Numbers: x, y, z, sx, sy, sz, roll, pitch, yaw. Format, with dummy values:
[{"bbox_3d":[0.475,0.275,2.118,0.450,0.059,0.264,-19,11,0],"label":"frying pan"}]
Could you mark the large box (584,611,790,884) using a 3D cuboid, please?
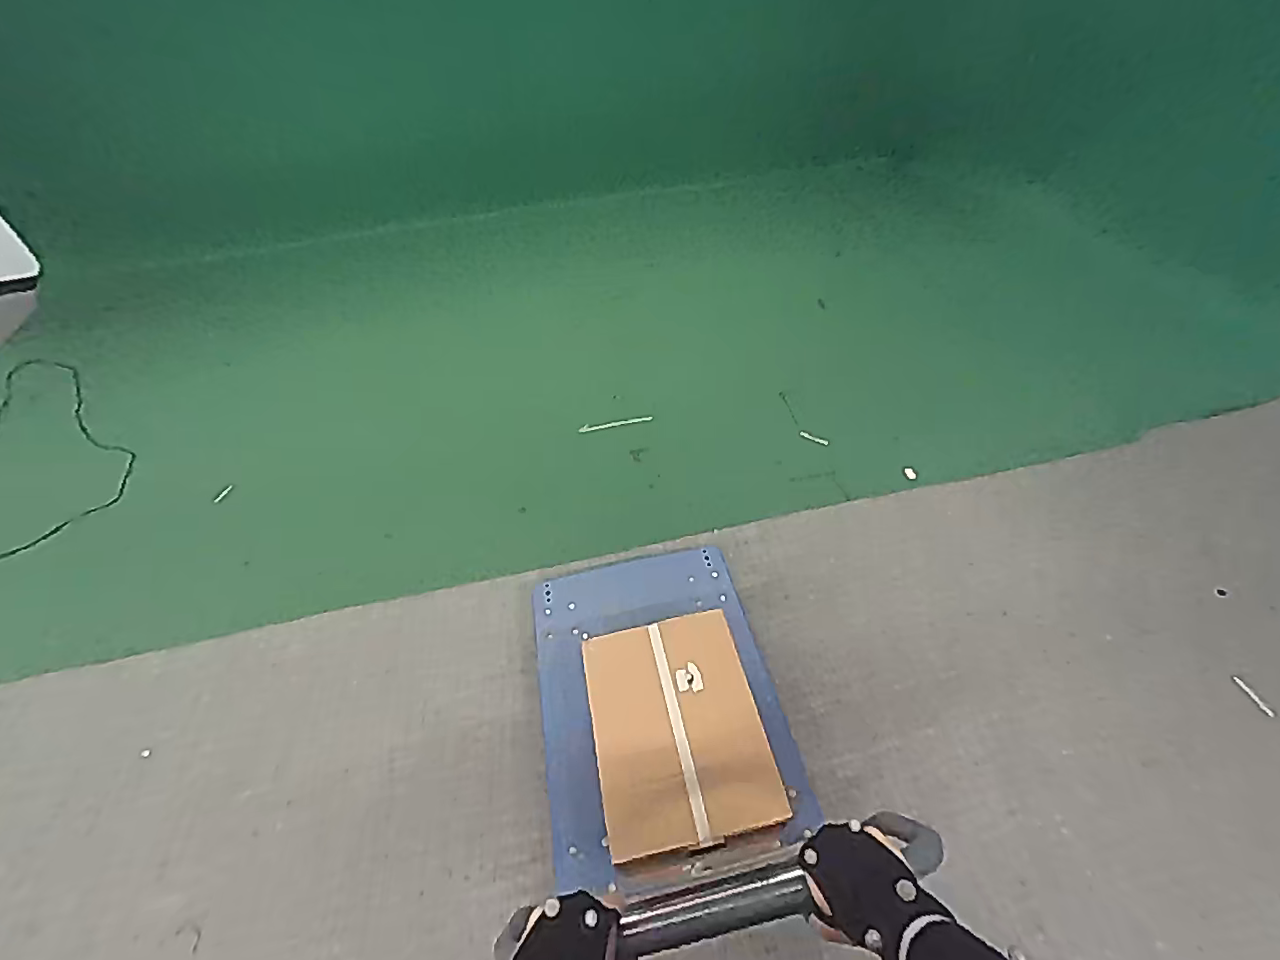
[{"bbox_3d":[0.082,0.555,1.141,0.320,0.320,0.408,-11,47,-5],"label":"large box"}]
